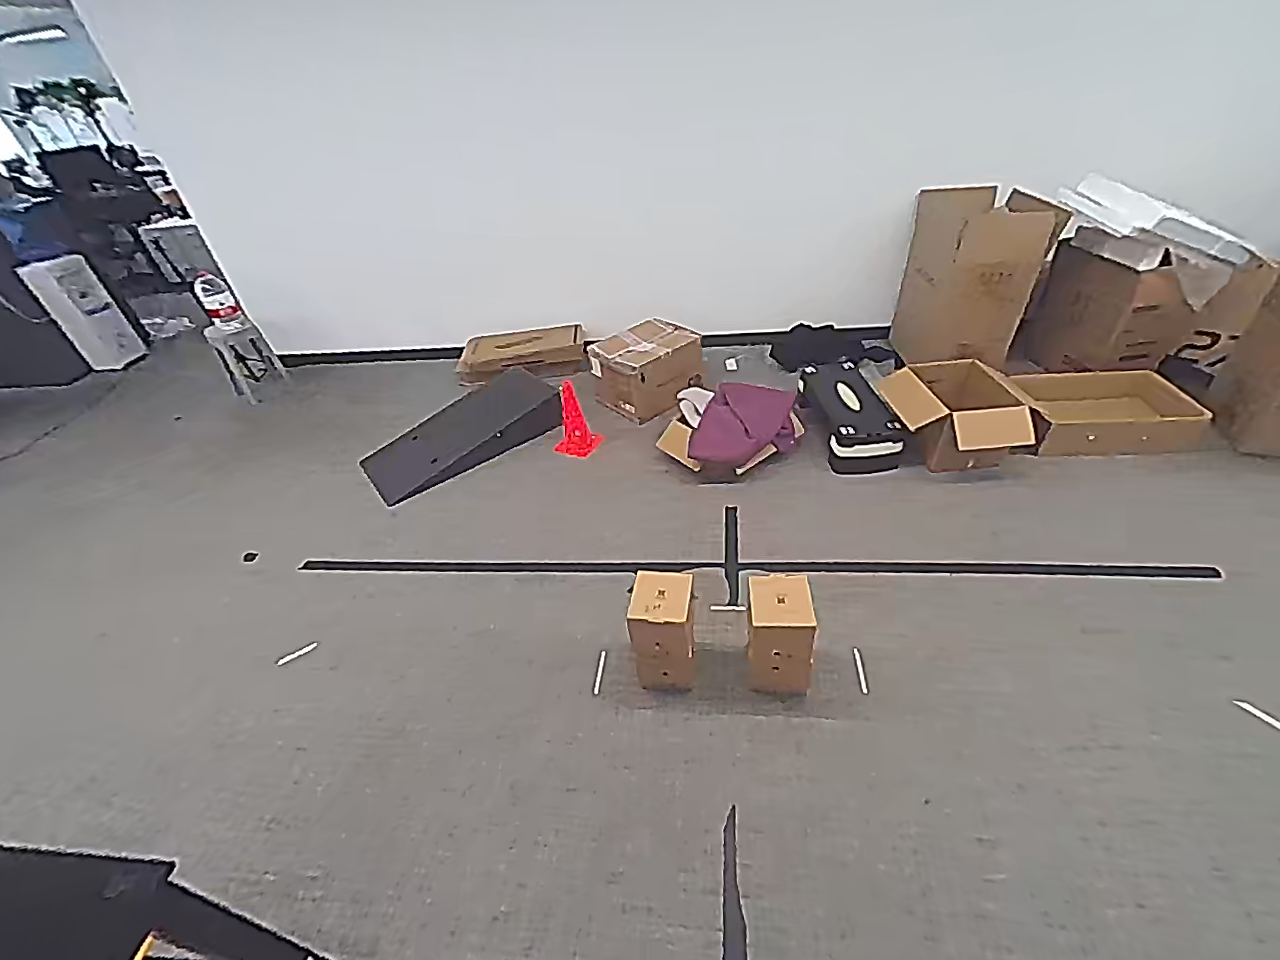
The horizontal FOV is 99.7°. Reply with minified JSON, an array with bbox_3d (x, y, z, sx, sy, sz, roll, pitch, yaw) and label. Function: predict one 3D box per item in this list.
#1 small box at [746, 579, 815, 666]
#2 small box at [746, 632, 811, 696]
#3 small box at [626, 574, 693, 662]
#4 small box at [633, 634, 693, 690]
[{"bbox_3d":[0.389,0.399,1.524,0.168,0.176,0.179,-3,40,7],"label":"small box"},{"bbox_3d":[0.409,0.527,1.622,0.179,0.176,0.168,2,39,10],"label":"small box"},{"bbox_3d":[0.063,0.397,1.567,0.168,0.176,0.179,2,39,12],"label":"small box"},{"bbox_3d":[0.077,0.529,1.667,0.168,0.176,0.179,-1,39,8],"label":"small box"}]
